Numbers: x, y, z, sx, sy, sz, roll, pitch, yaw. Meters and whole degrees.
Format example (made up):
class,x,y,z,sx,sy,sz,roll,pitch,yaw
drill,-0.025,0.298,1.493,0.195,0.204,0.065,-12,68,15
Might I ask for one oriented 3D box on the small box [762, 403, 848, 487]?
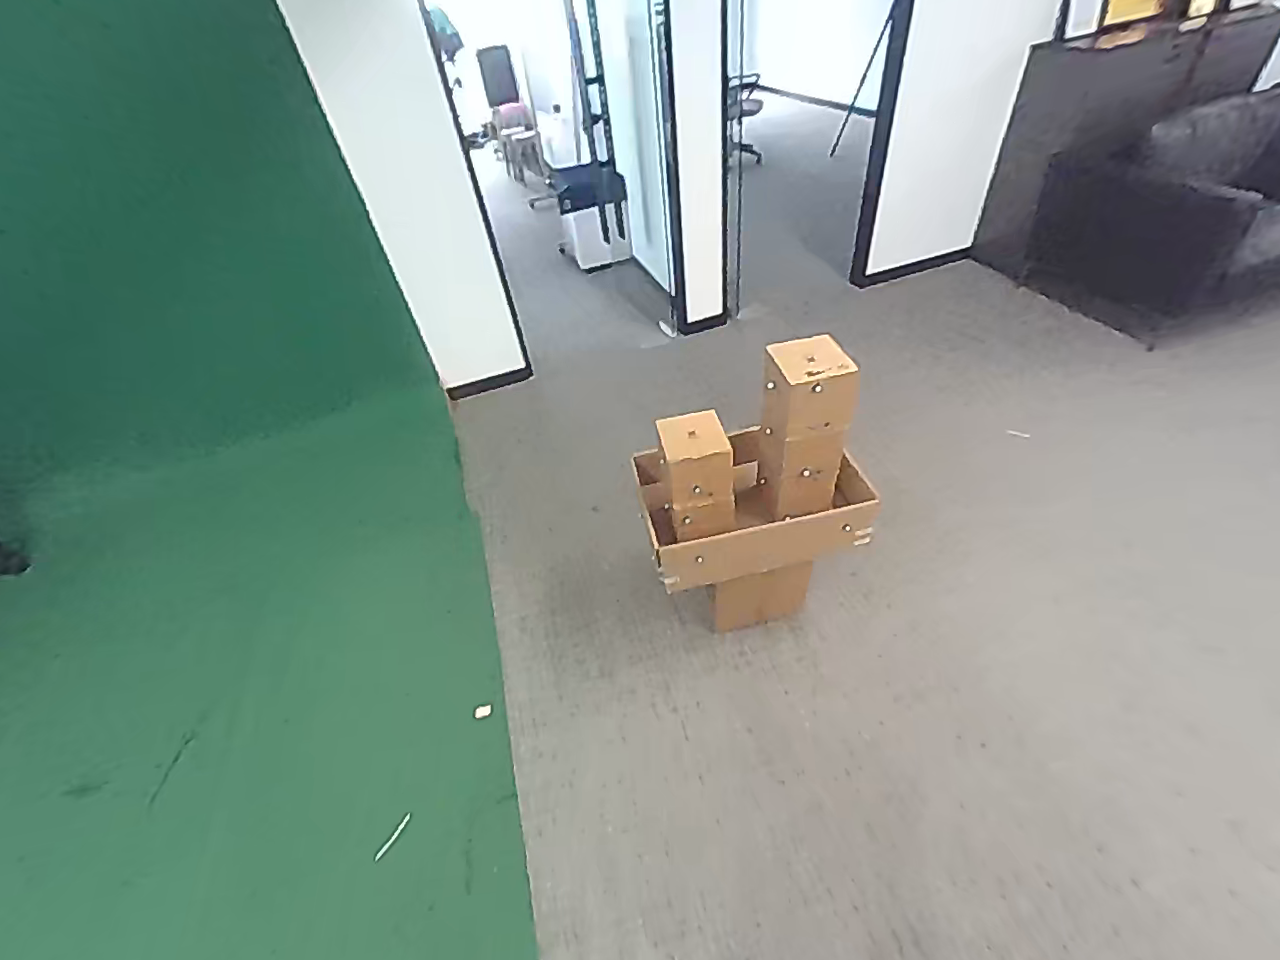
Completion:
class,x,y,z,sx,sy,sz,roll,pitch,yaw
small box,0.437,-0.108,1.462,0.168,0.176,0.179,-12,44,-2

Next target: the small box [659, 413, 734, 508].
class,x,y,z,sx,sy,sz,roll,pitch,yaw
small box,0.148,-0.052,1.450,0.168,0.176,0.179,-11,44,-3

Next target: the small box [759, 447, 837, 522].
class,x,y,z,sx,sy,sz,roll,pitch,yaw
small box,0.453,0.006,1.577,0.168,0.176,0.179,-11,43,-3

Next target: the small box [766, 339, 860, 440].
class,x,y,z,sx,sy,sz,roll,pitch,yaw
small box,0.420,-0.226,1.350,0.168,0.176,0.179,-12,43,-2
